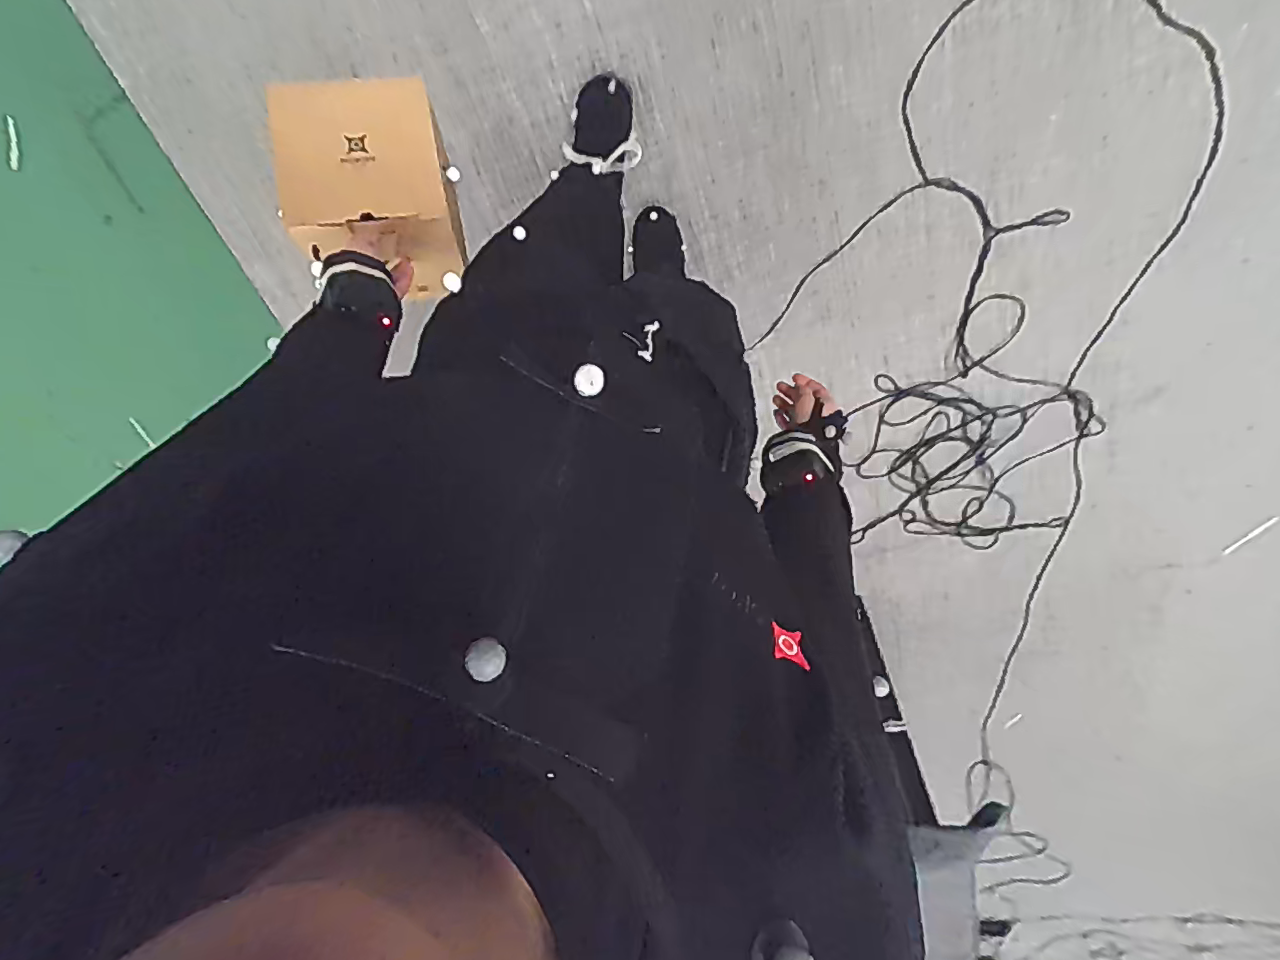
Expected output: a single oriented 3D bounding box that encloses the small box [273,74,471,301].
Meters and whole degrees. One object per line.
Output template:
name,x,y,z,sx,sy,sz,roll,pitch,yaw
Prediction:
small box,-0.310,-0.344,0.655,0.168,0.176,0.179,-10,81,-10
